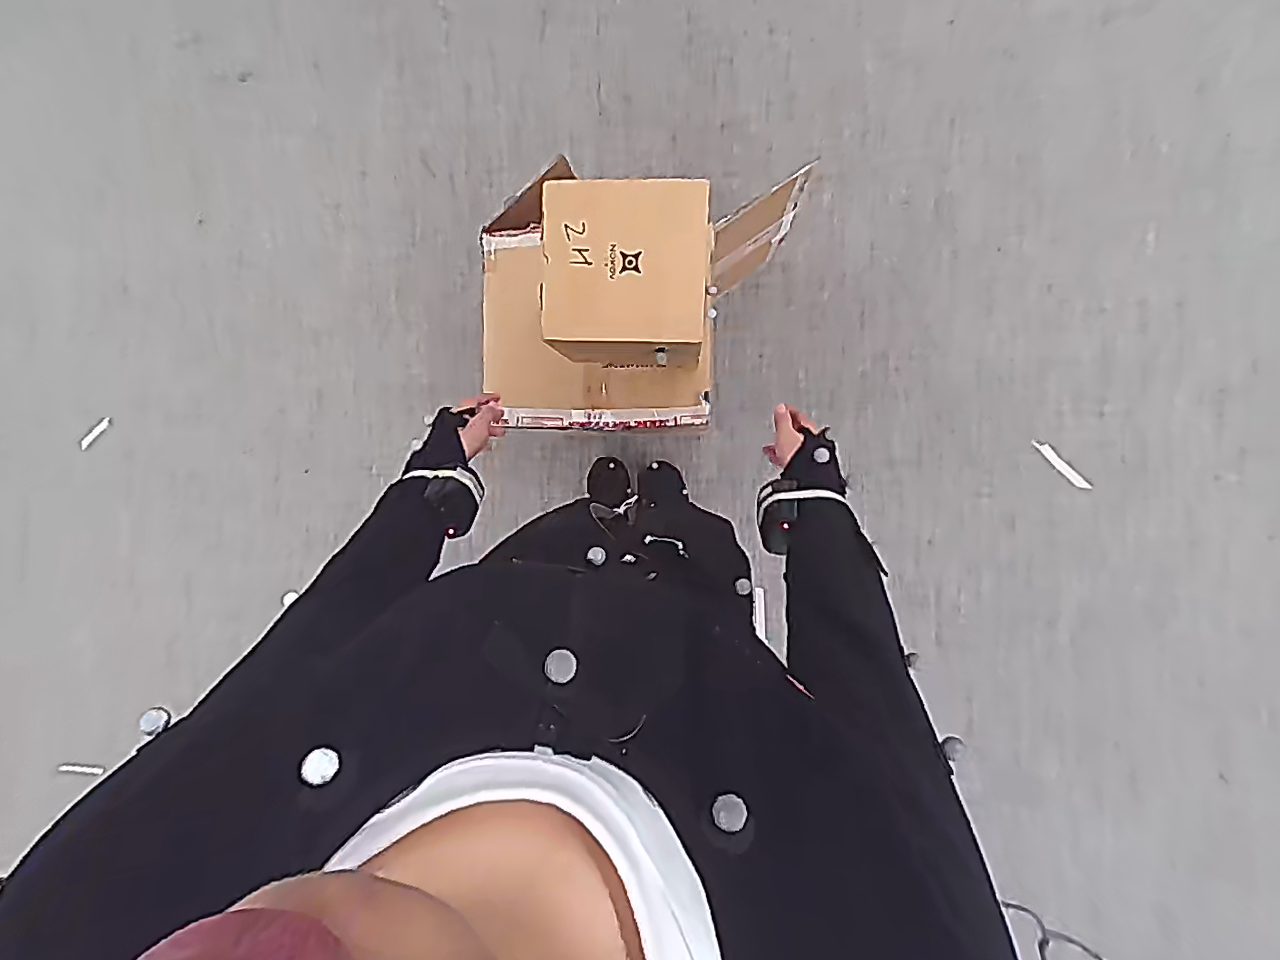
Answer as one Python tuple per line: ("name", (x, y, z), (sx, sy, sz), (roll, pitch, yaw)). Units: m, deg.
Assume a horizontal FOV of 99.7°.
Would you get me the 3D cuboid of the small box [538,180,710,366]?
("small box", (-0.012, -0.230, 0.638), (0.179, 0.176, 0.168), (2, 94, 6))
